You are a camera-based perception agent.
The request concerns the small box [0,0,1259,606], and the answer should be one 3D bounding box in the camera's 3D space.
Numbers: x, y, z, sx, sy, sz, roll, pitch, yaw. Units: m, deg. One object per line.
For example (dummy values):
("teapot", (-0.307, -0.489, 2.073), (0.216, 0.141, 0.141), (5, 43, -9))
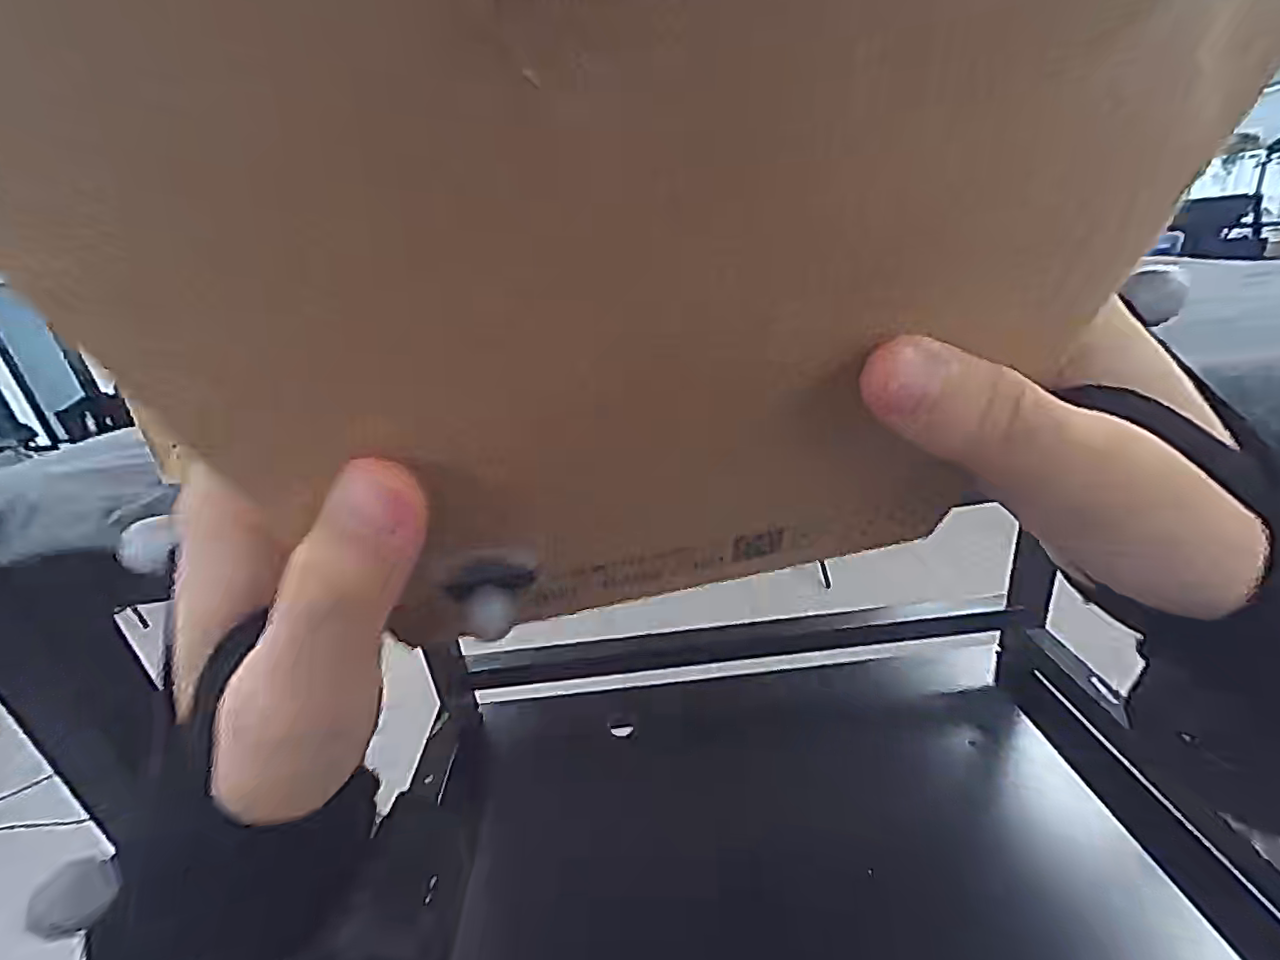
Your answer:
("small box", (-0.007, -0.082, 0.143), (0.168, 0.176, 0.179), (-11, 53, -6))
